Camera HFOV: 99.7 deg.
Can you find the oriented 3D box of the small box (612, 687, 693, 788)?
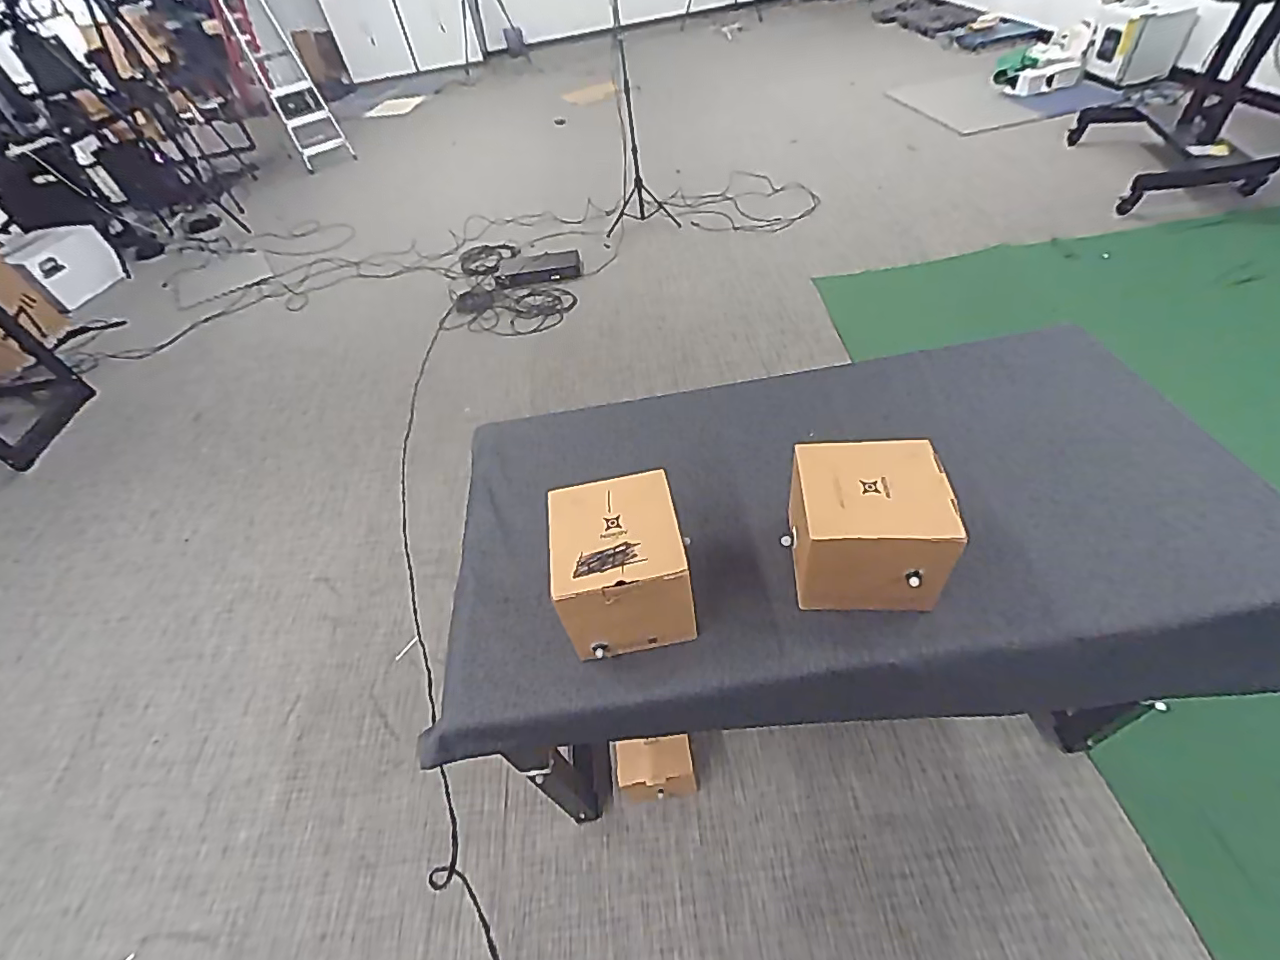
[{"bbox_3d":[0.031,0.615,1.282,0.168,0.176,0.179,-9,49,2],"label":"small box"}]

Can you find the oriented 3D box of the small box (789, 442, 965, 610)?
[{"bbox_3d":[0.306,0.066,0.743,0.179,0.176,0.168,-2,47,9],"label":"small box"}]

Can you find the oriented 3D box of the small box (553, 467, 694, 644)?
[{"bbox_3d":[-0.022,0.111,0.752,0.168,0.176,0.179,-10,46,0],"label":"small box"}]
